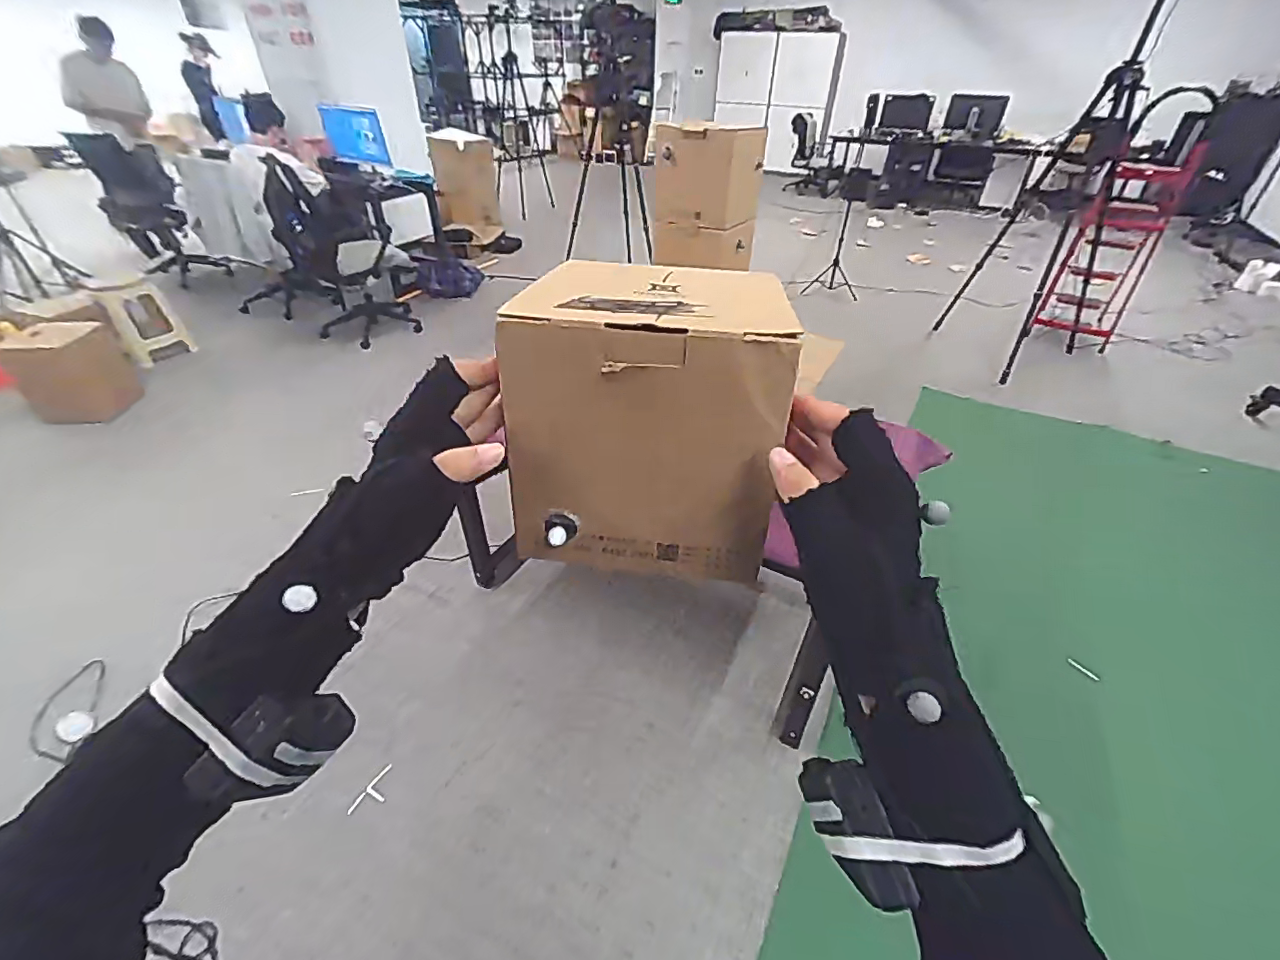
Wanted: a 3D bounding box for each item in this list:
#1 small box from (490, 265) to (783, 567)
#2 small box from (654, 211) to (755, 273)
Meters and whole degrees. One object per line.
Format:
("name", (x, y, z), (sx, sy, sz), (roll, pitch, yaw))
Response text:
("small box", (0.005, -0.055, 0.404), (0.168, 0.176, 0.179), (6, 31, 5))
("small box", (0.137, -0.485, 1.203), (0.168, 0.176, 0.179), (21, 41, 23))
